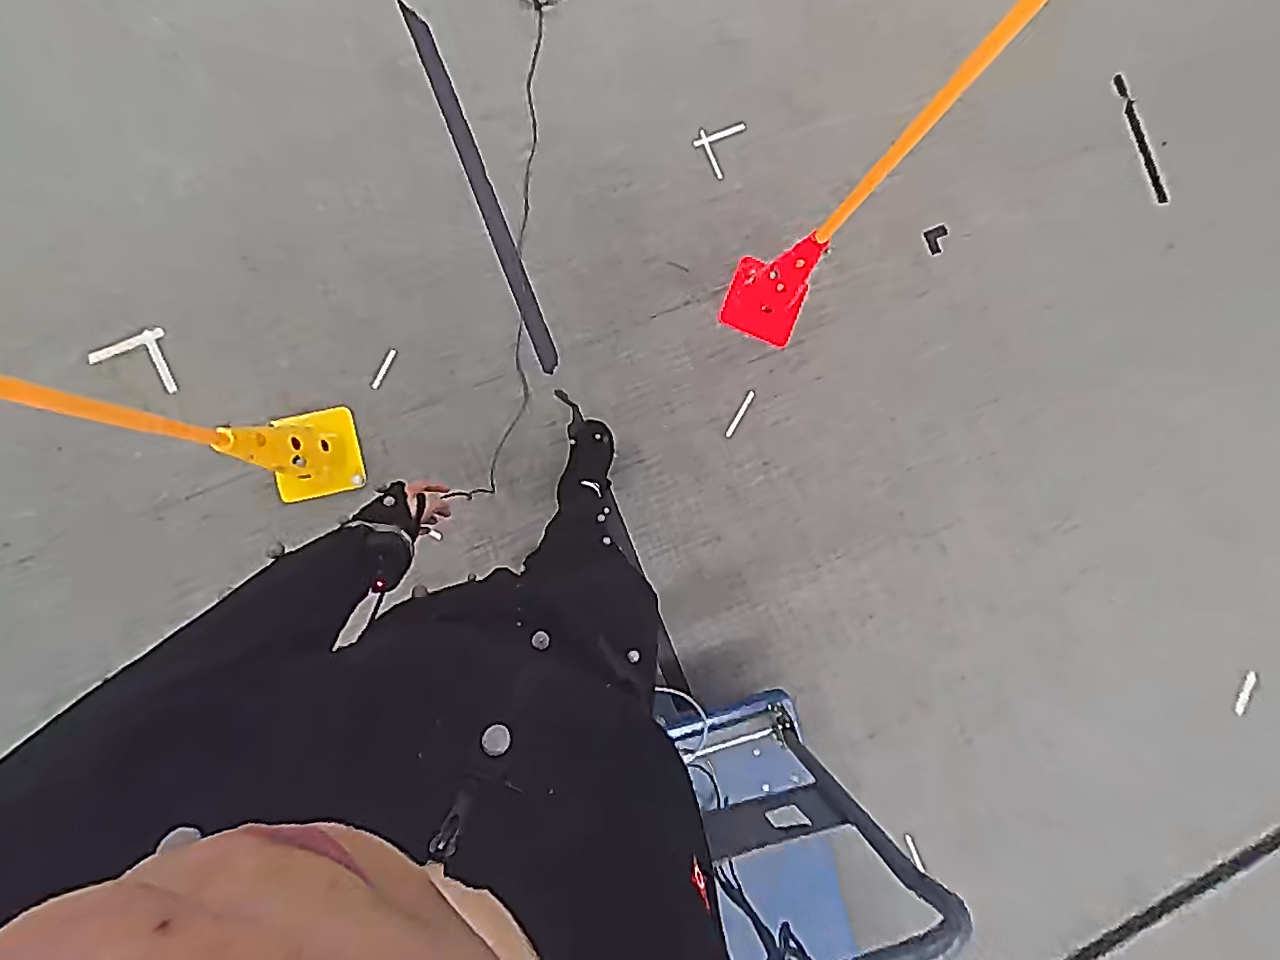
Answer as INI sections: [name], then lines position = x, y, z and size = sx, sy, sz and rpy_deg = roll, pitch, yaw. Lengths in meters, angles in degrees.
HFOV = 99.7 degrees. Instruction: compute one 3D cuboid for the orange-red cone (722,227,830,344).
[orange-red cone]
position = 0.350, -0.482, 1.256
size = 0.198, 0.360, 0.199
rpy_deg = 23, 87, -4
